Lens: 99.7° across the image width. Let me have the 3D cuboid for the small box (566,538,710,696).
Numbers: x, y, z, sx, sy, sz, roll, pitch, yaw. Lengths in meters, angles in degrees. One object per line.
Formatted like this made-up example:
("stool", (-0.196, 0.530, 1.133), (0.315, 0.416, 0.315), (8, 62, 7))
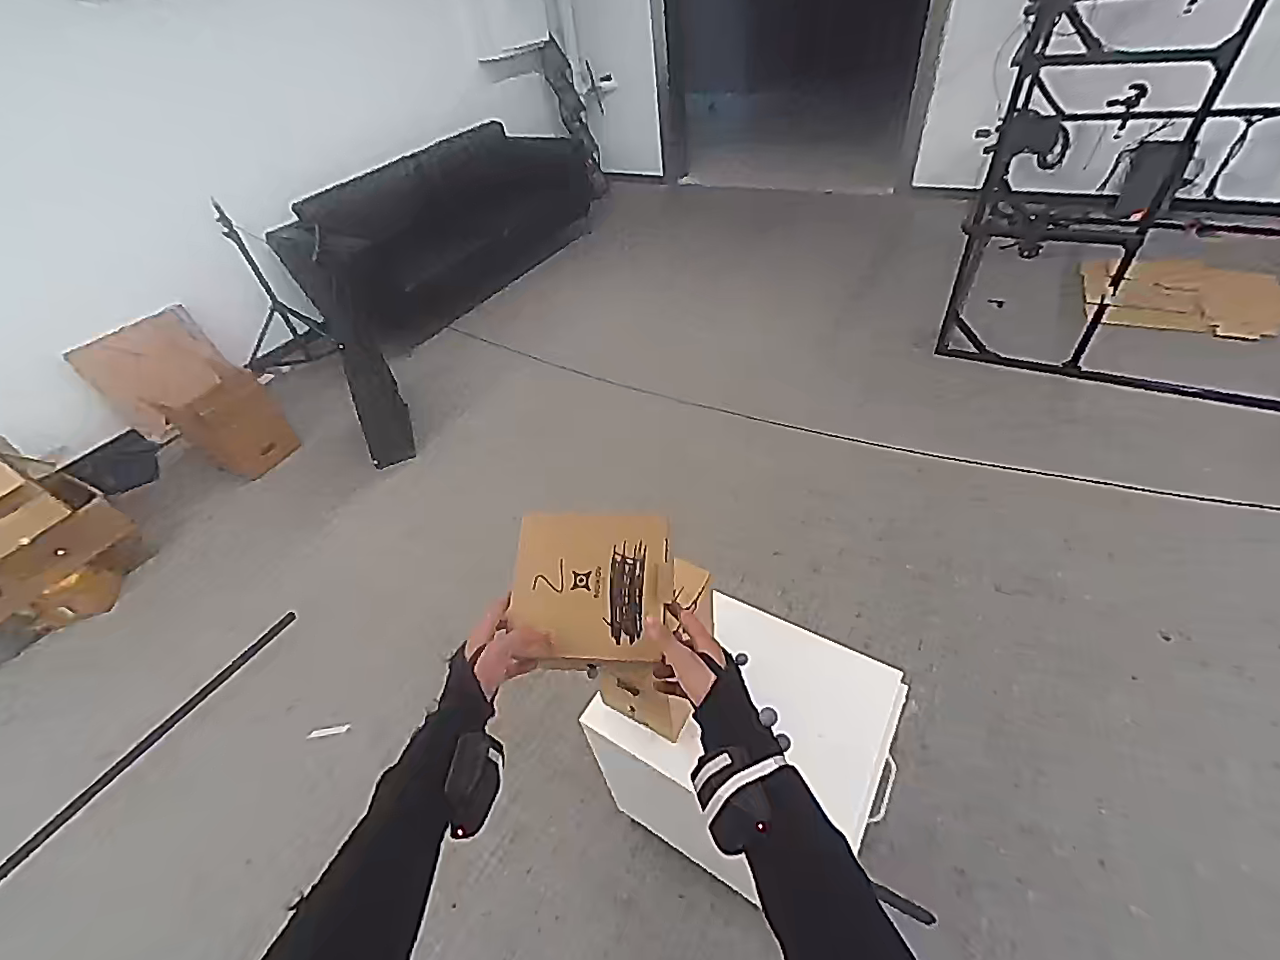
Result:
("small box", (0.007, 0.233, 0.906), (0.179, 0.176, 0.168), (19, 50, 27))

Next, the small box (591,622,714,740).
("small box", (0.029, 0.348, 1.022), (0.168, 0.176, 0.179), (19, 50, 26))
